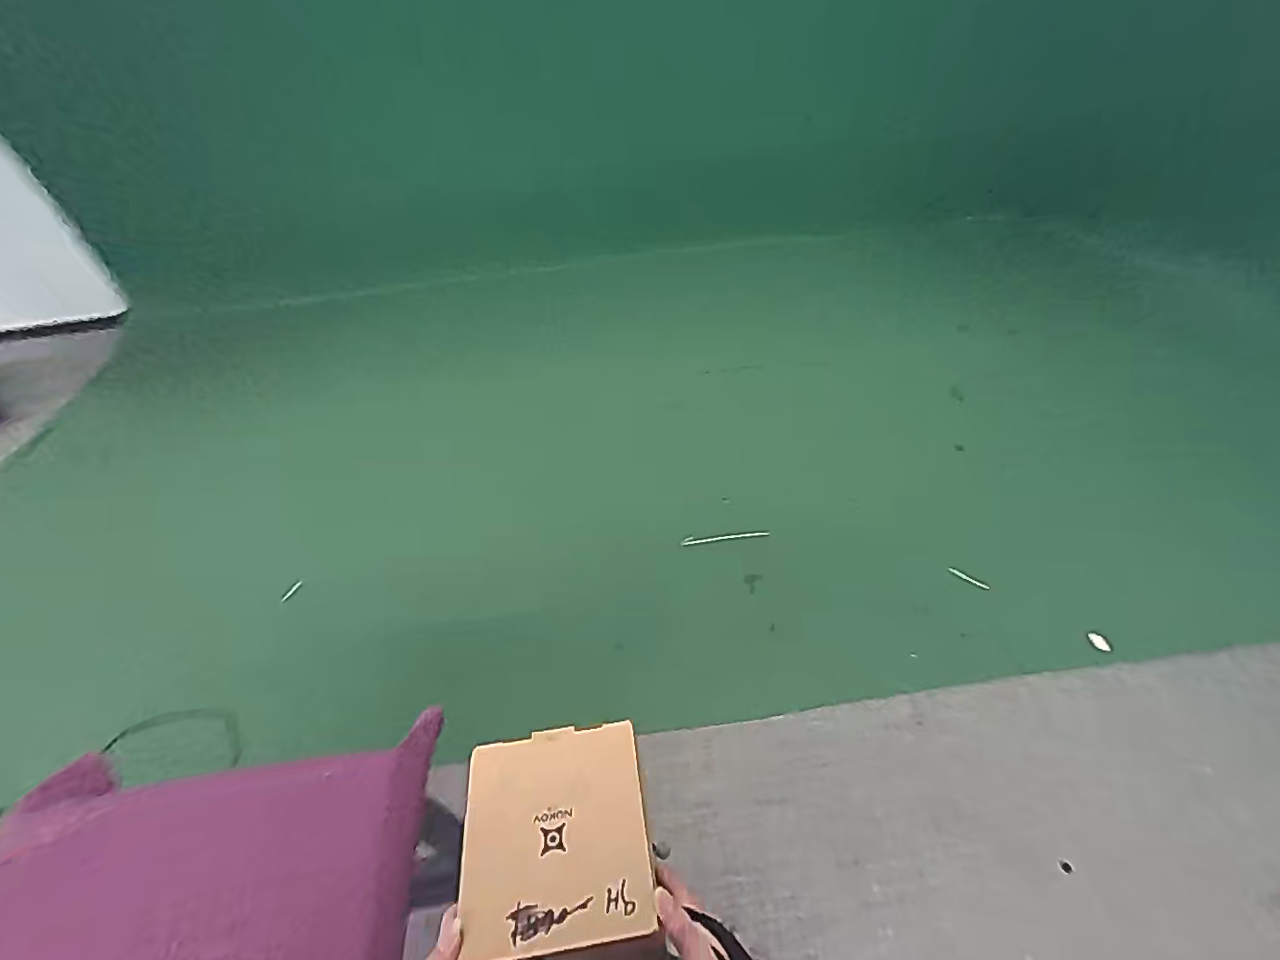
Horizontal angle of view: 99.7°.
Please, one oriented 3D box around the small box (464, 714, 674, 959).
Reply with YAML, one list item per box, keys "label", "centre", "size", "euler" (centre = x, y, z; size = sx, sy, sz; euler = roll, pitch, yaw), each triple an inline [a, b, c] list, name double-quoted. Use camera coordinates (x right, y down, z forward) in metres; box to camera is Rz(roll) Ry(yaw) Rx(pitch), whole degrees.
- label: "small box"
  centre: [-0.060, 0.364, 0.537]
  size: [0.168, 0.176, 0.179]
  euler: [-8, 42, -2]
